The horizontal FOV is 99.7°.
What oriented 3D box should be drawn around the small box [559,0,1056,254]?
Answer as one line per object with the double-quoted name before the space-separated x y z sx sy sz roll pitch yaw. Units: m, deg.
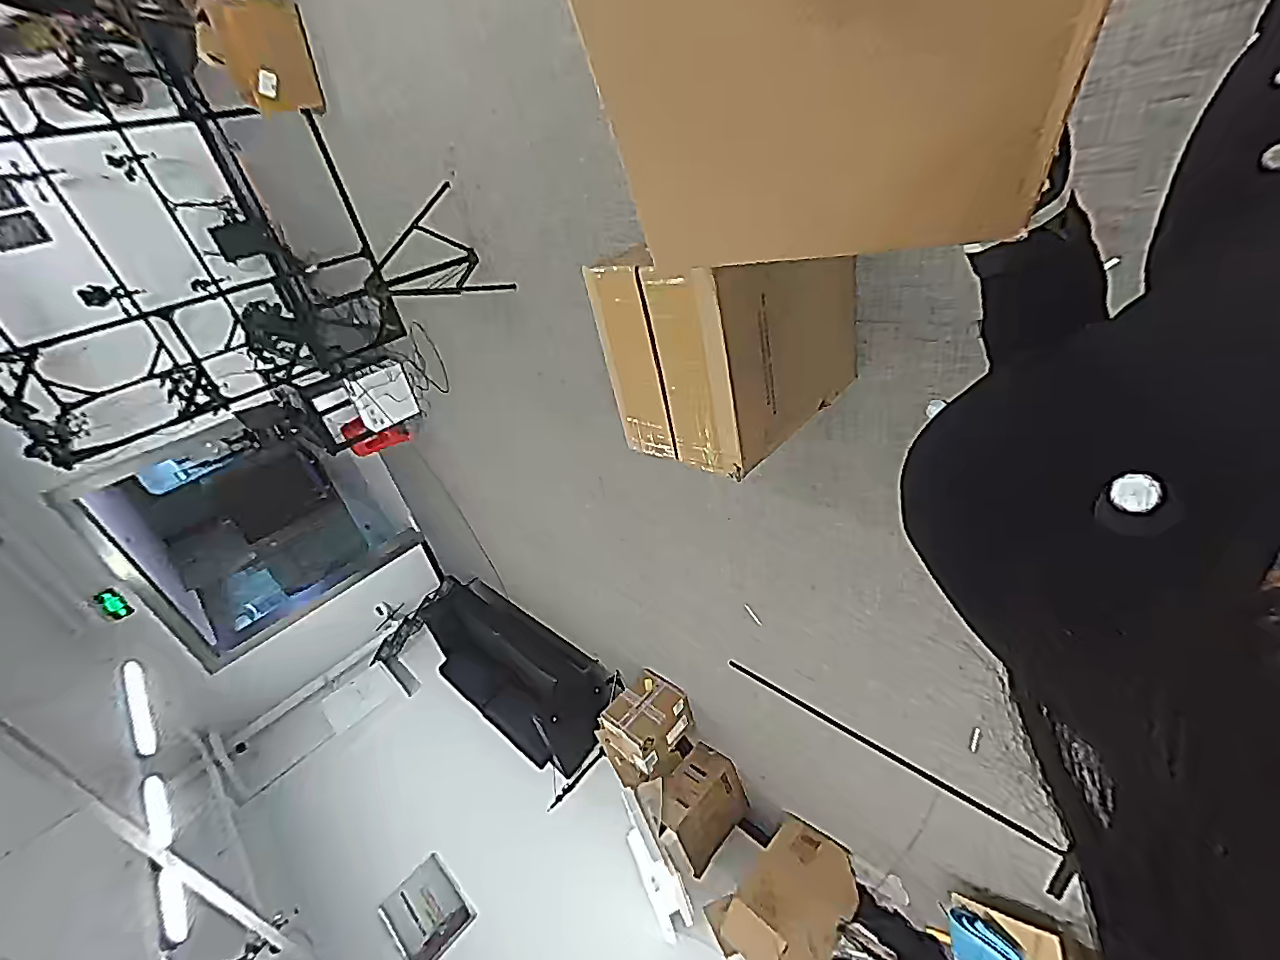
"small box" 0.071 -0.228 0.222 0.168 0.179 0.176 3 153 22
